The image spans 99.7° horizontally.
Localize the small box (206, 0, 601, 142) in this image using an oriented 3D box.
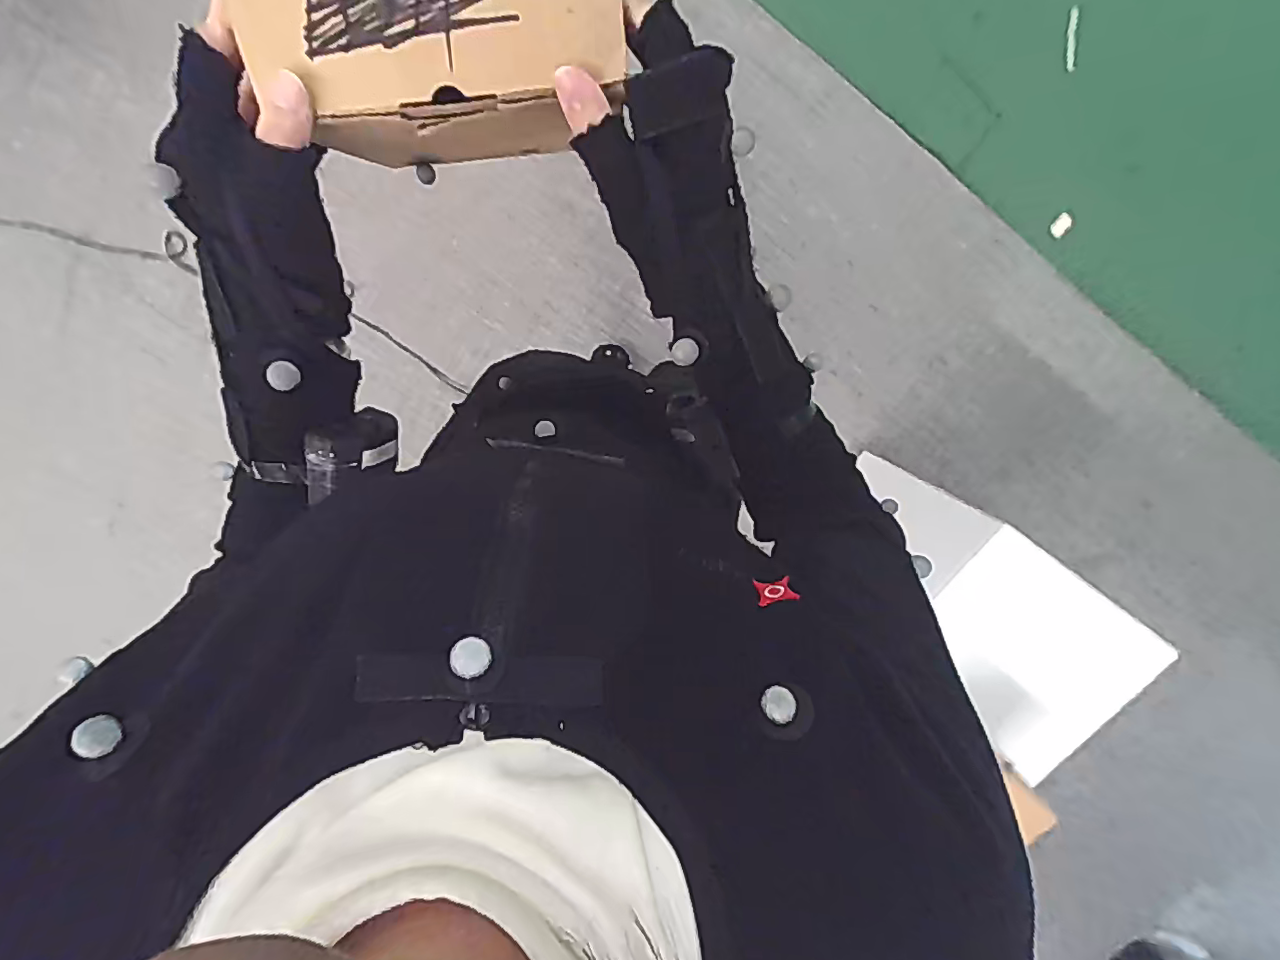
[{"bbox_3d":[-0.111,-0.291,0.281,0.168,0.176,0.179,-7,113,-1],"label":"small box"}]
